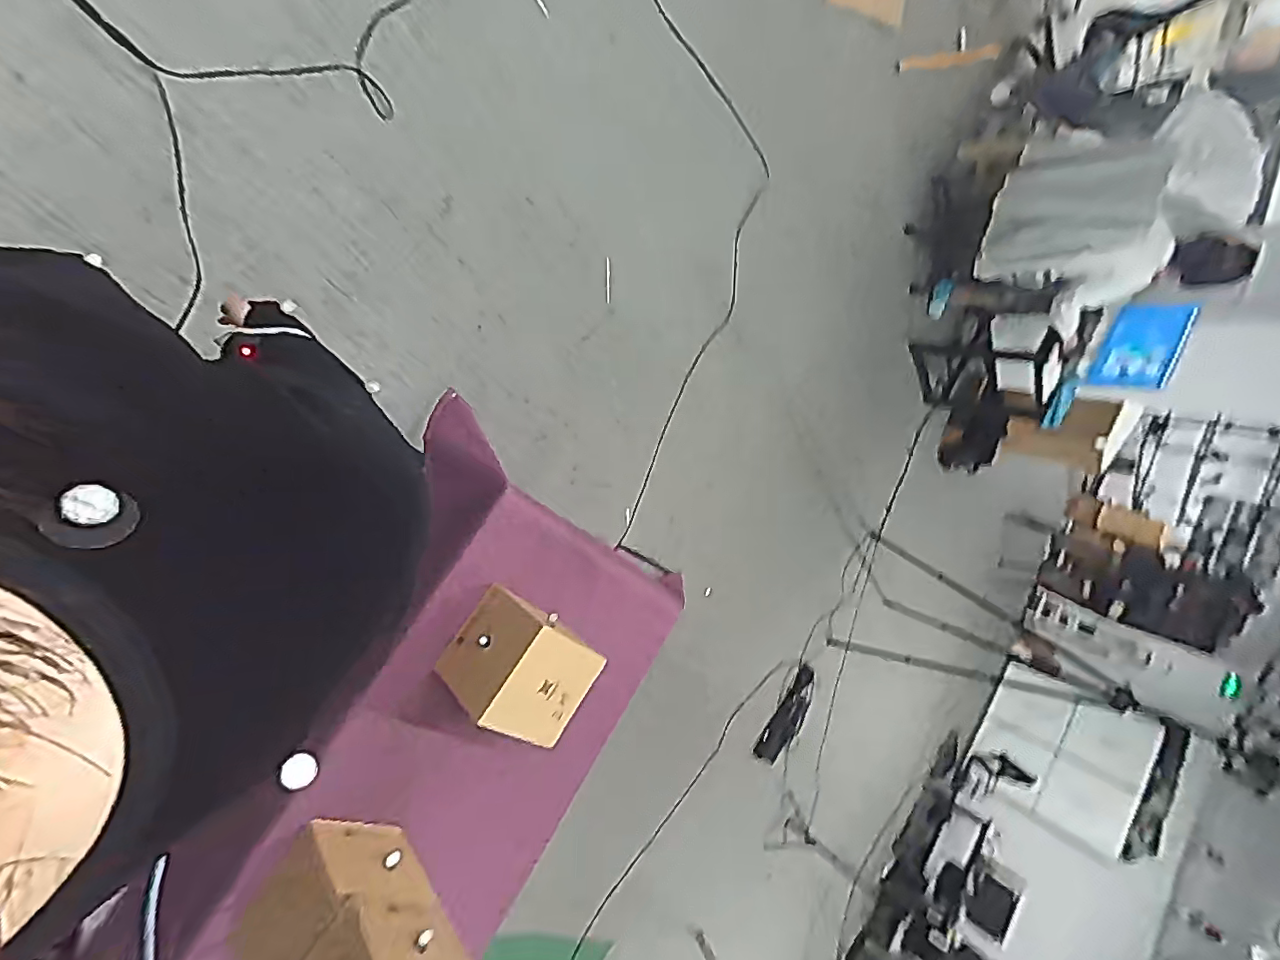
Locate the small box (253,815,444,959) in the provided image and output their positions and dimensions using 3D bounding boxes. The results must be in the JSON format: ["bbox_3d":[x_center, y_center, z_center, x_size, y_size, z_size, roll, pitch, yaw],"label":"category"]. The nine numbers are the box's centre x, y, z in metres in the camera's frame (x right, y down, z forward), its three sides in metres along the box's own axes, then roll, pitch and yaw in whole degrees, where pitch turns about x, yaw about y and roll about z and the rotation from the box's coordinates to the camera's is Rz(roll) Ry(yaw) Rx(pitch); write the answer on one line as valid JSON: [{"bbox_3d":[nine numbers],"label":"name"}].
[{"bbox_3d":[-0.438,0.639,0.807,0.179,0.176,0.168,-57,134,-11],"label":"small box"}]

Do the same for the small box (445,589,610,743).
[{"bbox_3d":[-0.192,0.304,0.910,0.168,0.176,0.179,-55,134,-12],"label":"small box"}]
